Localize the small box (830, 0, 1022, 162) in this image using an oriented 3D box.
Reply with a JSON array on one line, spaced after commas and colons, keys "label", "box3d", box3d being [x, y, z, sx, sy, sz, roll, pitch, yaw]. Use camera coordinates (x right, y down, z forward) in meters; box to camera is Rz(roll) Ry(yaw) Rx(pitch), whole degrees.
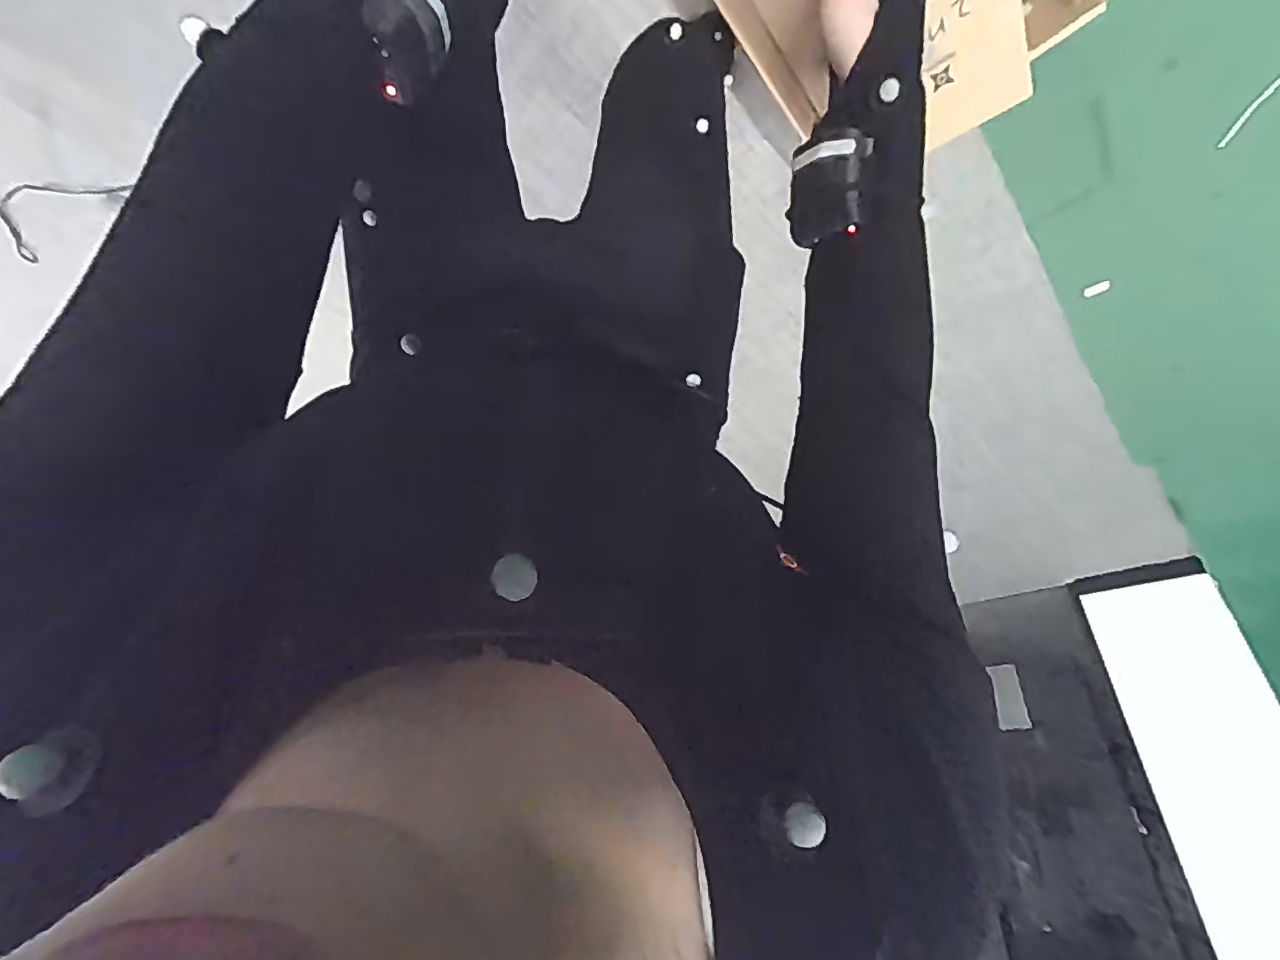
[{"label": "small box", "box3d": [0.347, -0.553, 0.669, 0.168, 0.176, 0.179, -18, 142, 32]}]
